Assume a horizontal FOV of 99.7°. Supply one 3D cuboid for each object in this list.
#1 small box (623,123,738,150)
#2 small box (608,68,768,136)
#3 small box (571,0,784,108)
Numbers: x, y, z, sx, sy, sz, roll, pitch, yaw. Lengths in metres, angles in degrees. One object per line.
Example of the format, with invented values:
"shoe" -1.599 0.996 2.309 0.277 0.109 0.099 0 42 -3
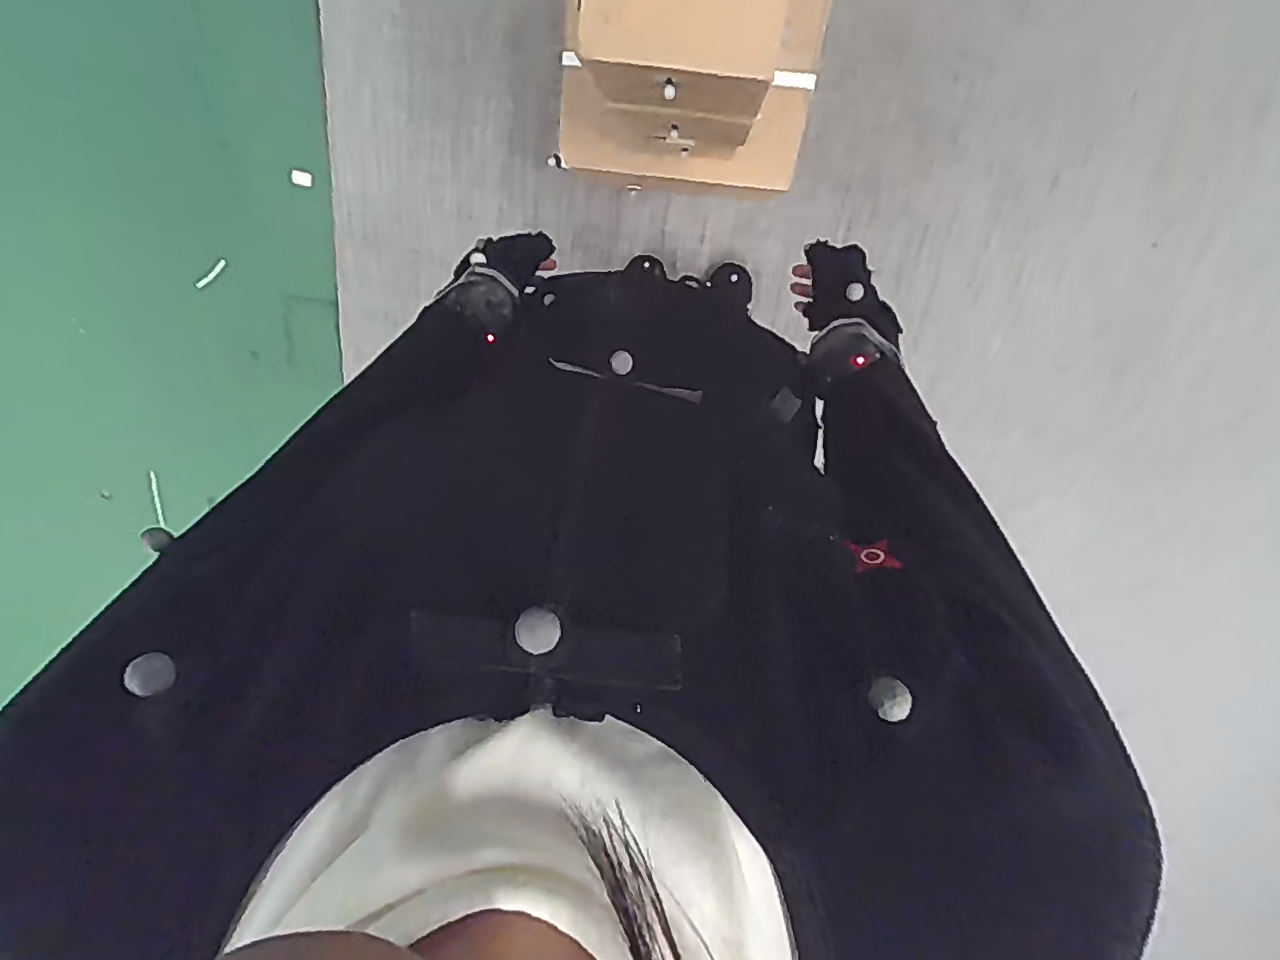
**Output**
"small box" 0.074 -0.600 0.797 0.168 0.176 0.179 8 116 4
"small box" 0.063 -0.525 0.651 0.179 0.176 0.168 6 115 4
"small box" 0.045 -0.465 0.501 0.179 0.176 0.168 9 116 2
